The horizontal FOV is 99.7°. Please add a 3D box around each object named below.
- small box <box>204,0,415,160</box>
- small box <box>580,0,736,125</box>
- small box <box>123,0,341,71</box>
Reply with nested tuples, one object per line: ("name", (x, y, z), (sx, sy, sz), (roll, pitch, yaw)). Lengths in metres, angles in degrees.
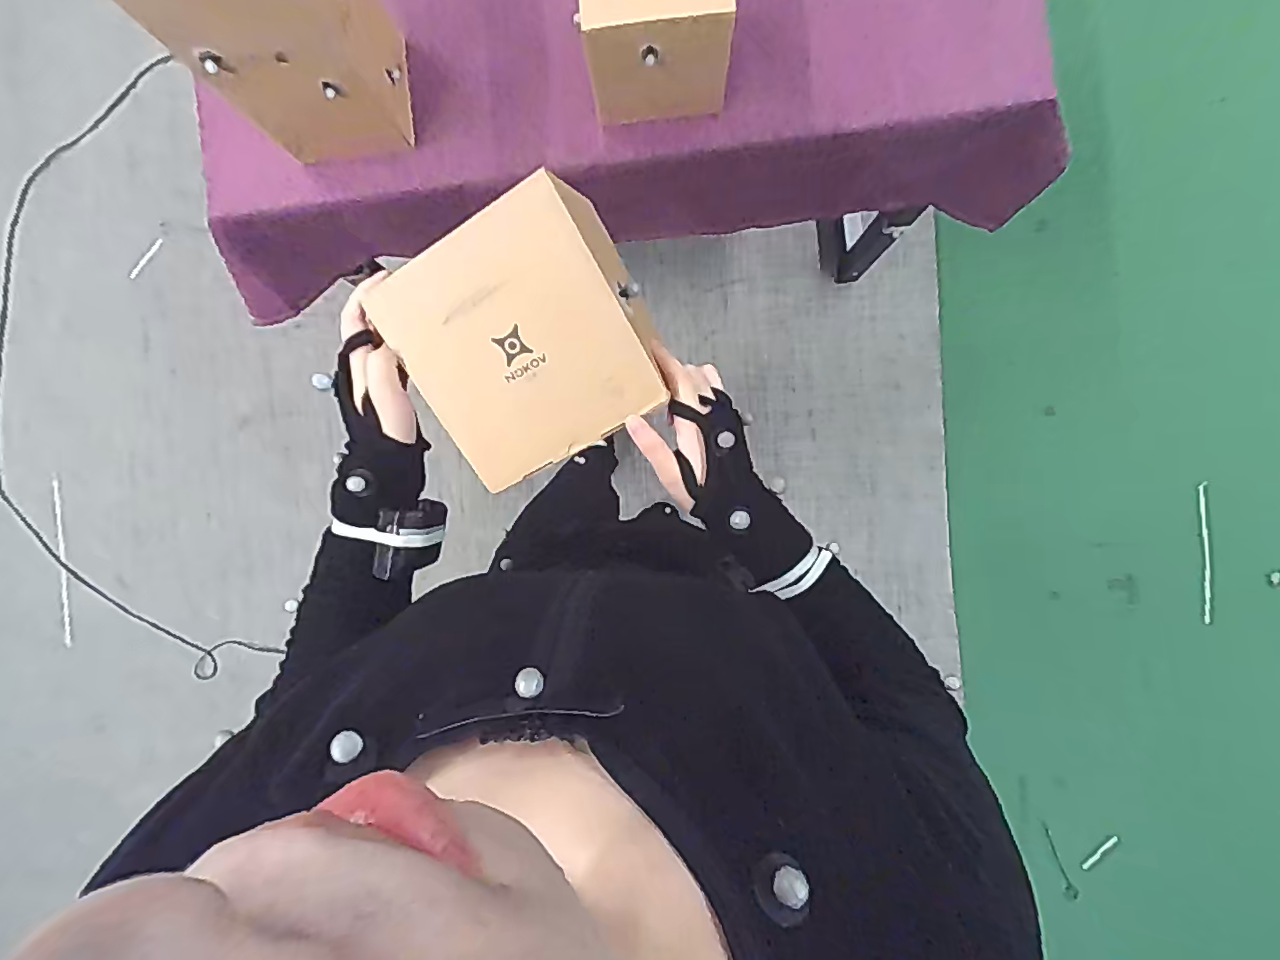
("small box", (-0.418, -0.544, 0.698), (0.179, 0.176, 0.168), (-6, 90, 1))
("small box", (0.020, -0.581, 0.681), (0.179, 0.176, 0.168), (-4, 91, 2))
("small box", (-0.422, -0.546, 0.534), (0.168, 0.176, 0.179), (-6, 88, 1))
